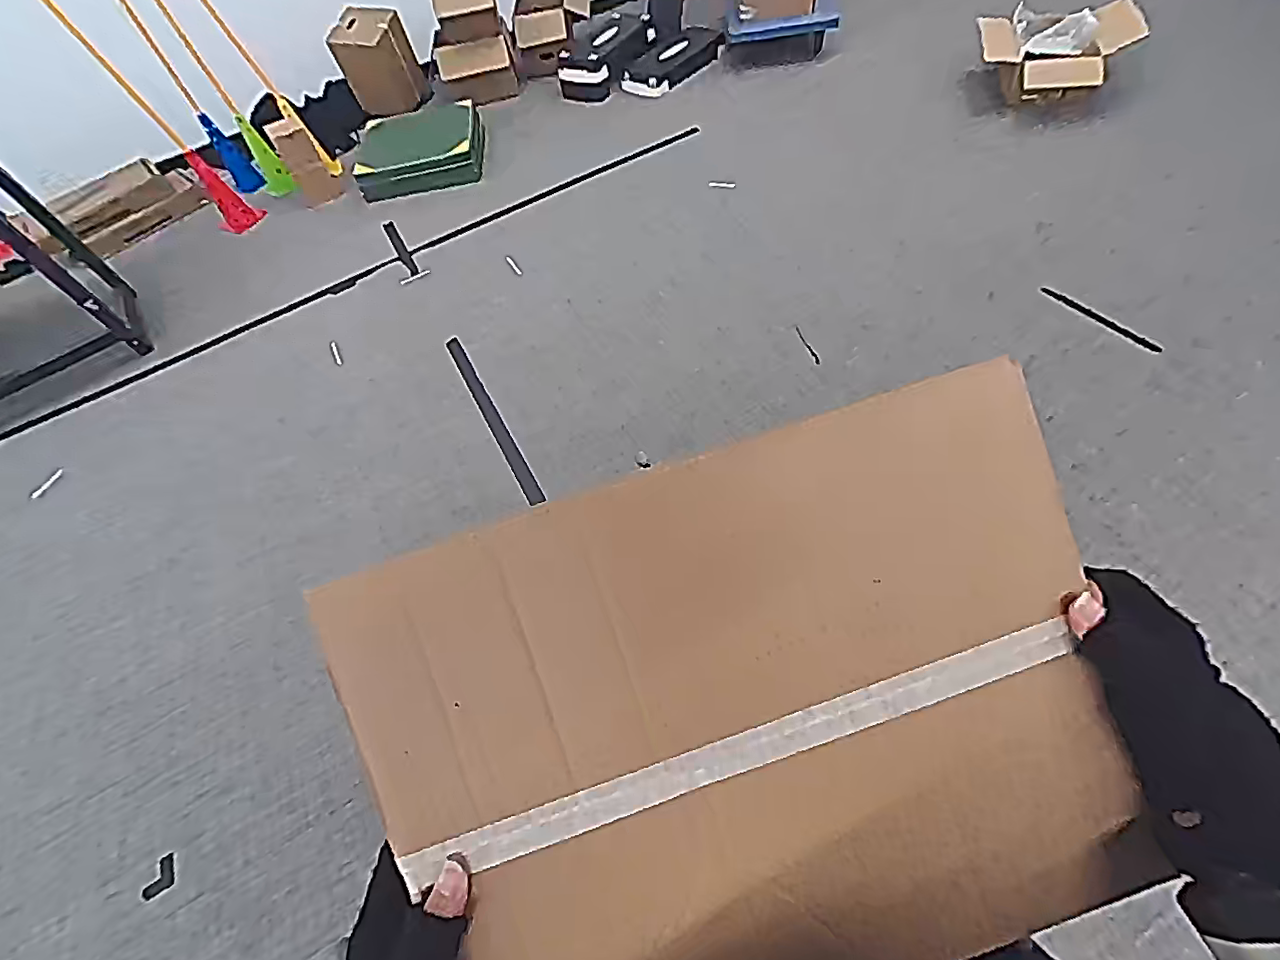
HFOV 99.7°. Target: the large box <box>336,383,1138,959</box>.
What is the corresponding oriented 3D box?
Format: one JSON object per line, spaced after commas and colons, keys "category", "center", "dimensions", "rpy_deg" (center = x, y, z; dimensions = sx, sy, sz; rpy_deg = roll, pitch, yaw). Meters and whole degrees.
{"category": "large box", "center": [0.060, 0.147, 0.458], "dimensions": [0.408, 0.320, 0.320], "rpy_deg": [-19, 91, -2]}
